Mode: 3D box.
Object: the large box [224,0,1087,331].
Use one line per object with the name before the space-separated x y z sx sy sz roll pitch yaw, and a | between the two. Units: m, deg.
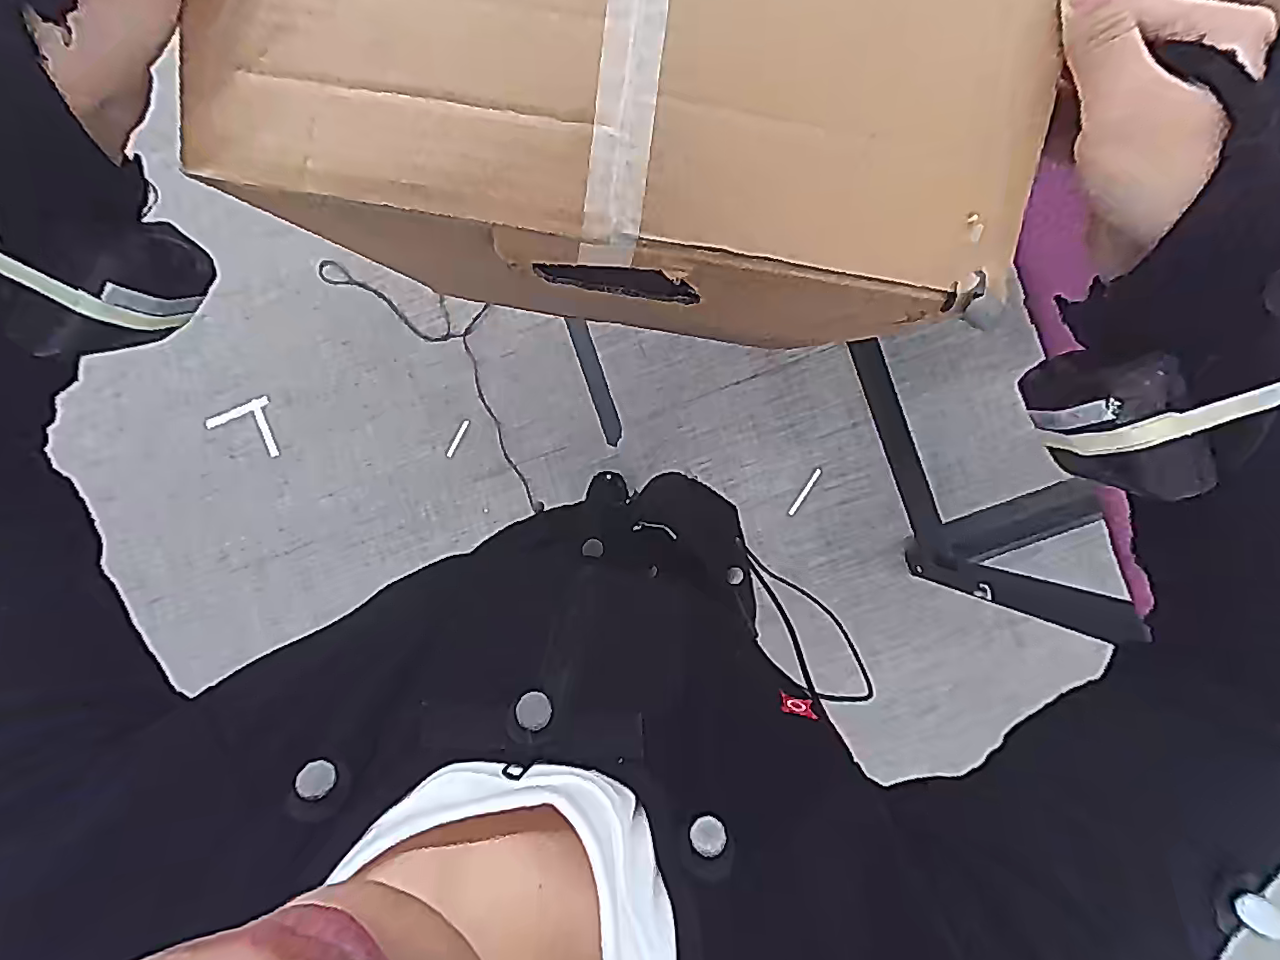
large box | 0.019 -0.320 0.313 0.320 0.320 0.408 8 101 -2
